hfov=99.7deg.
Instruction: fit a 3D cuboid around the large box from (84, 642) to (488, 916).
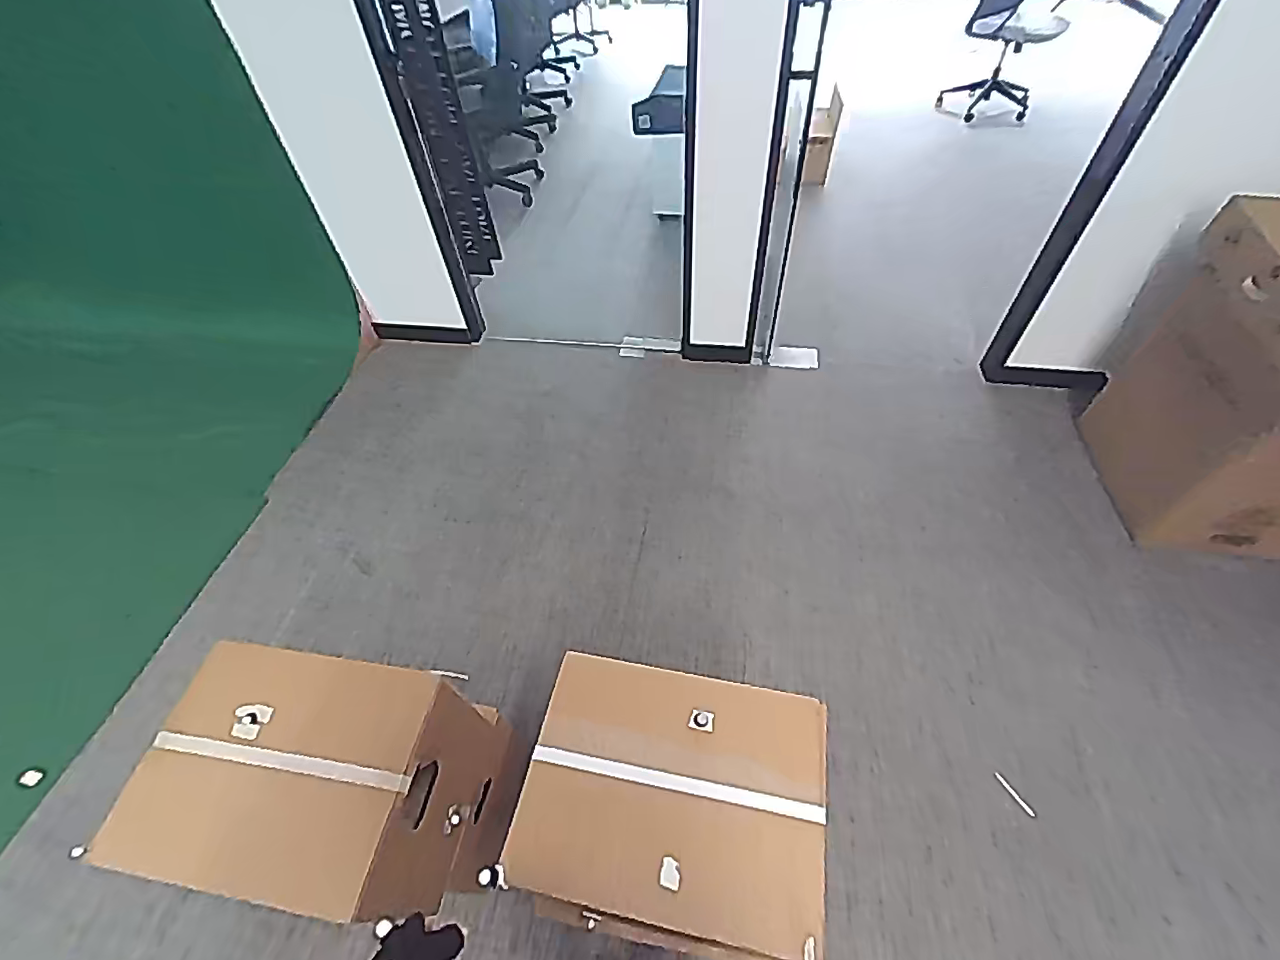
[{"bbox_3d":[-0.525,0.494,0.909,0.408,0.320,0.320,5,54,9],"label":"large box"}]
